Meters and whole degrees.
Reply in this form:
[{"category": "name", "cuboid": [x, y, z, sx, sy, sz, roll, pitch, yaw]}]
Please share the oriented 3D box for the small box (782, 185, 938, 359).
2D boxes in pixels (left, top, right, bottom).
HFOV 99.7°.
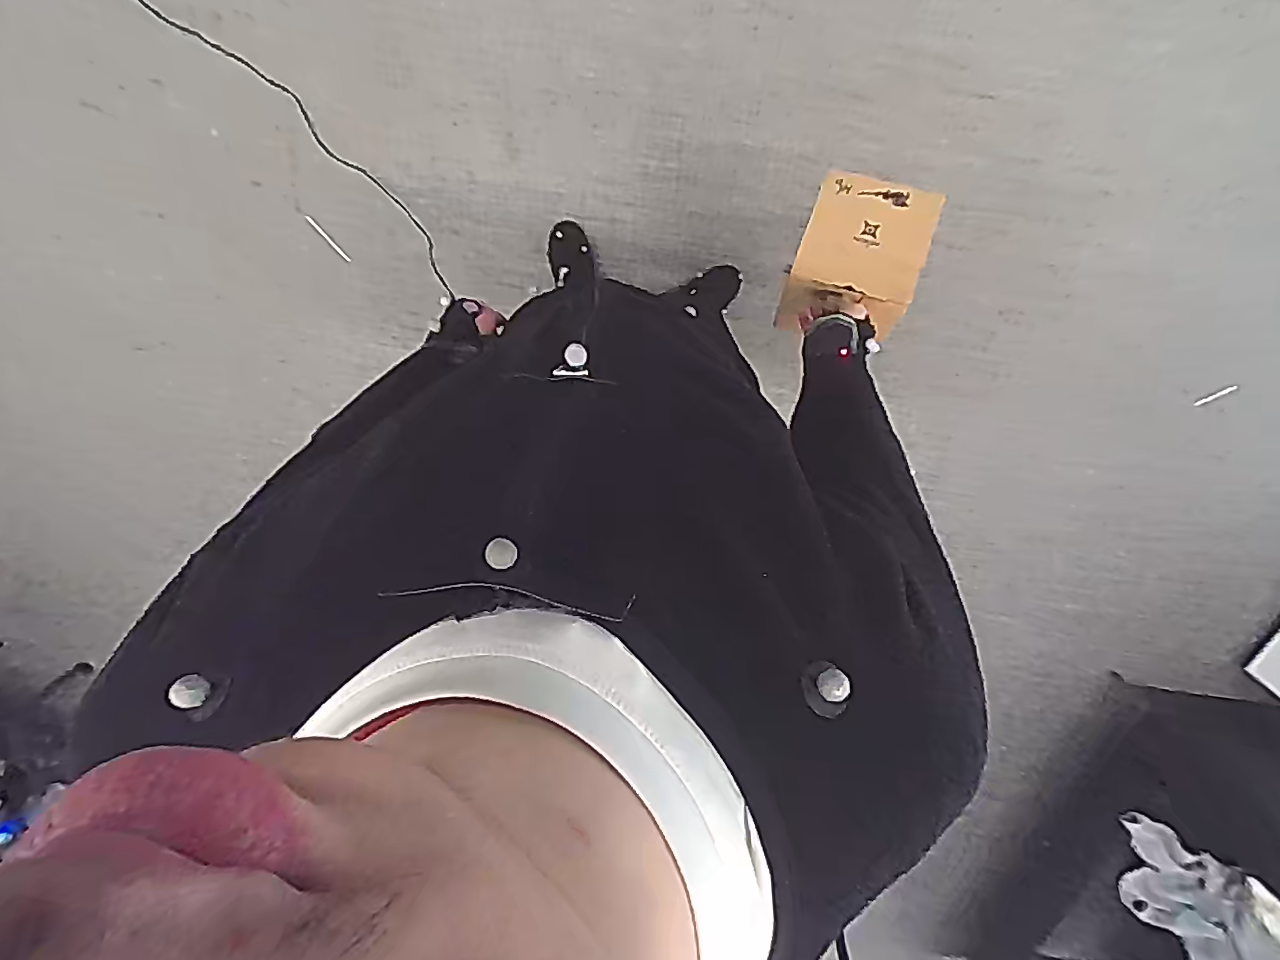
[{"category": "small box", "cuboid": [0.324, -0.309, 0.832, 0.168, 0.176, 0.179, 17, 81, 11]}]
